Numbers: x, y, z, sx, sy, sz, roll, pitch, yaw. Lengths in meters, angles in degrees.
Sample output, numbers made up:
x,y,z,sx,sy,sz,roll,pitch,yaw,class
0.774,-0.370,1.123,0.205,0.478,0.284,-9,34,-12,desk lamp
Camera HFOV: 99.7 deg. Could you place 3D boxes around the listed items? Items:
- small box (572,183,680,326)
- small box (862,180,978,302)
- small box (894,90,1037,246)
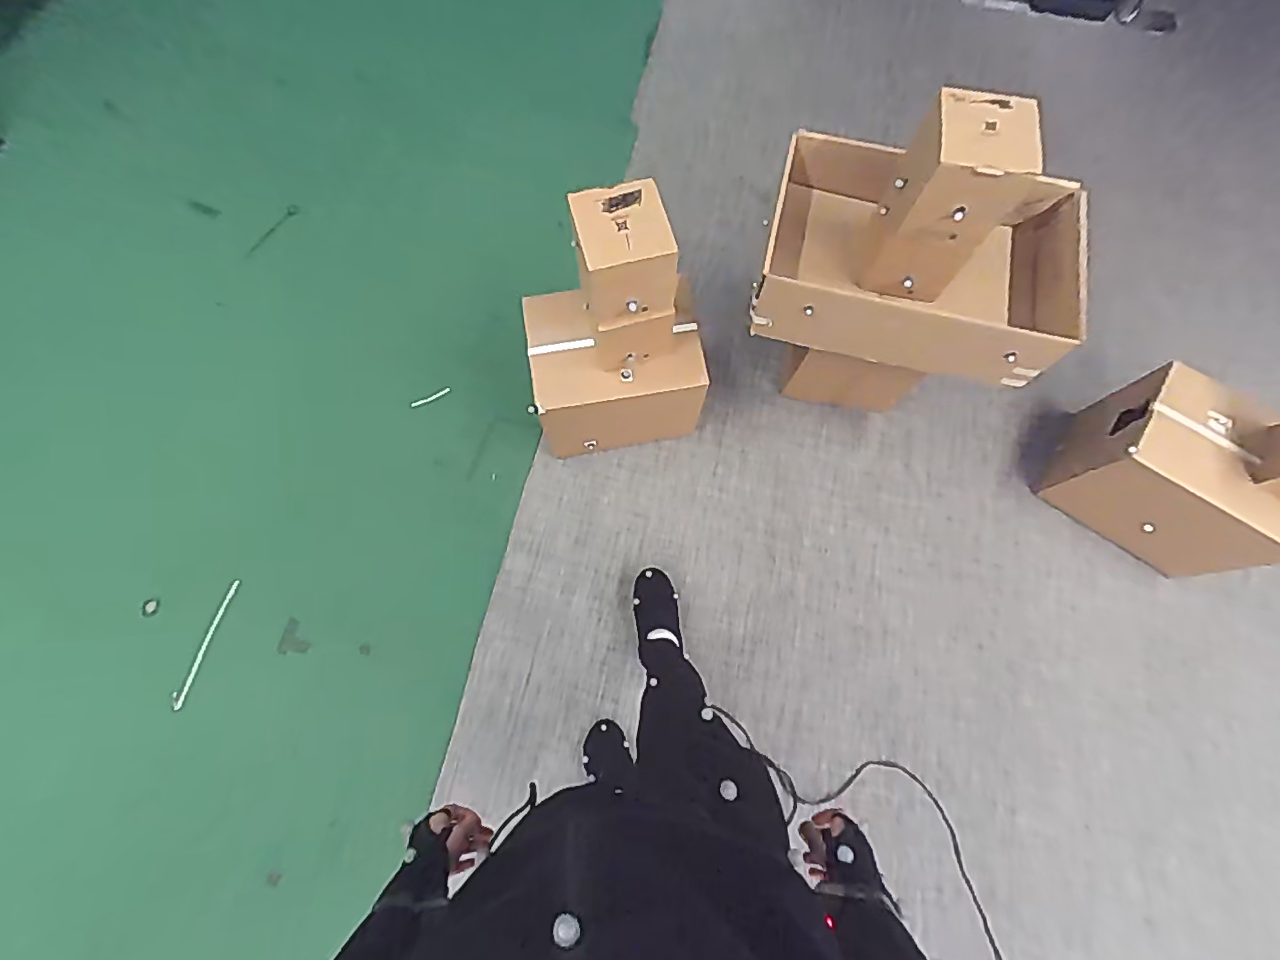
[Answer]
x,y,z,sx,sy,sz,roll,pitch,yaw,class
-0.030,-0.431,1.049,0.168,0.176,0.179,-14,72,-5,small box
0.587,-0.510,1.145,0.168,0.176,0.179,12,73,4,small box
0.584,-0.560,0.988,0.168,0.176,0.179,10,73,2,small box
